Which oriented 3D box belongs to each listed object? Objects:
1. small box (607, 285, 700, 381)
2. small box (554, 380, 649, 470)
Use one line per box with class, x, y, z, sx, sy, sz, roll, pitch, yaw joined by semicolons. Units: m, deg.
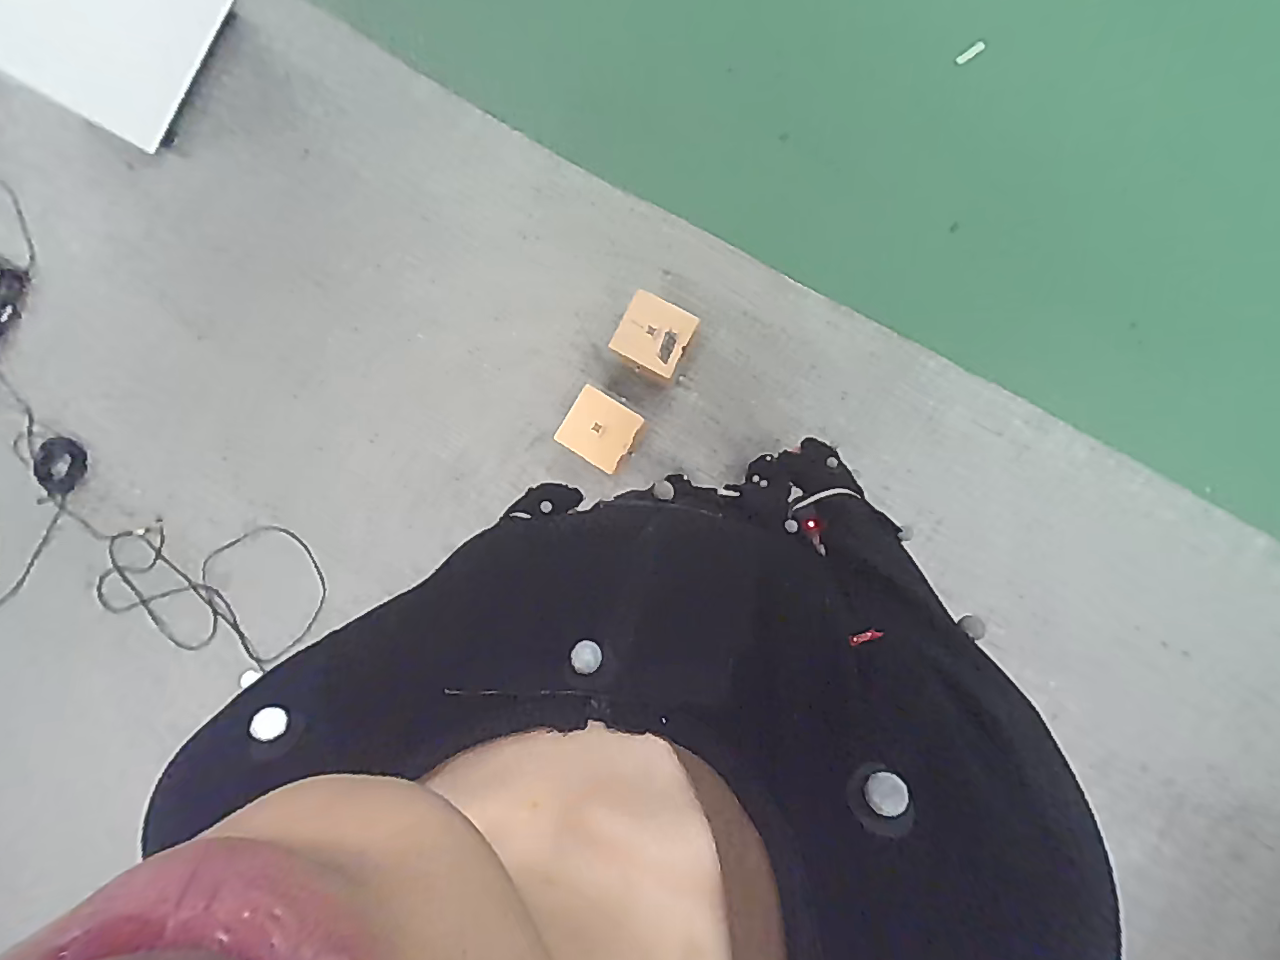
small box;0.042;-0.367;1.392;0.179;0.176;0.168;29;95;6
small box;-0.094;-0.136;1.414;0.179;0.176;0.168;32;94;5
